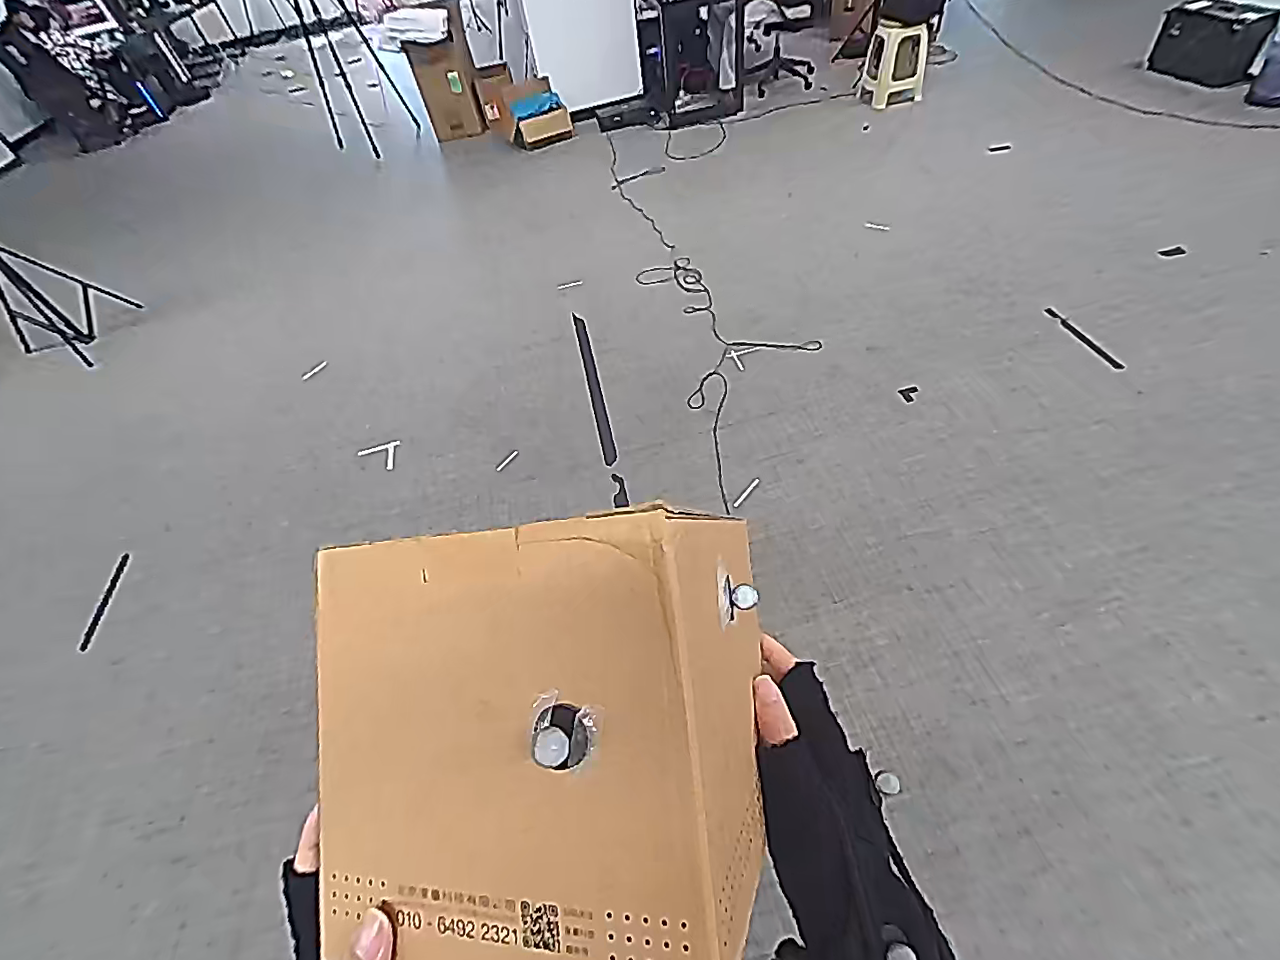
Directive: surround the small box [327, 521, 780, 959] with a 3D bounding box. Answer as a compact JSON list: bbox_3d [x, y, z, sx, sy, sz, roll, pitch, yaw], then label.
[{"bbox_3d":[-0.026,0.116,0.282,0.168,0.179,0.176,-8,82,20],"label":"small box"}]
